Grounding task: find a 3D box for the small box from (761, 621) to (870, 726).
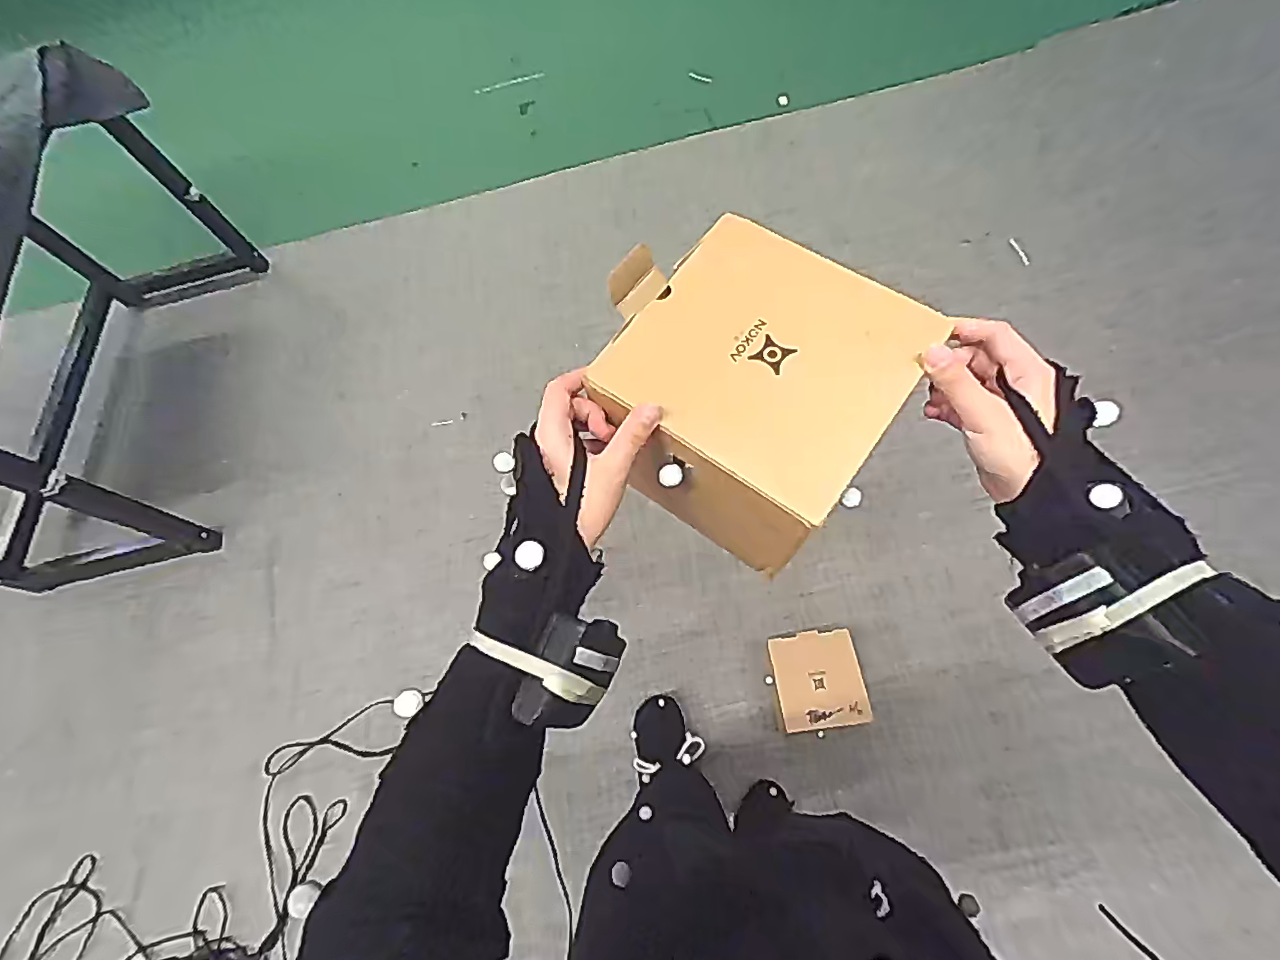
[{"bbox_3d":[0.352,0.407,1.125,0.168,0.176,0.179,-9,64,4],"label":"small box"}]
